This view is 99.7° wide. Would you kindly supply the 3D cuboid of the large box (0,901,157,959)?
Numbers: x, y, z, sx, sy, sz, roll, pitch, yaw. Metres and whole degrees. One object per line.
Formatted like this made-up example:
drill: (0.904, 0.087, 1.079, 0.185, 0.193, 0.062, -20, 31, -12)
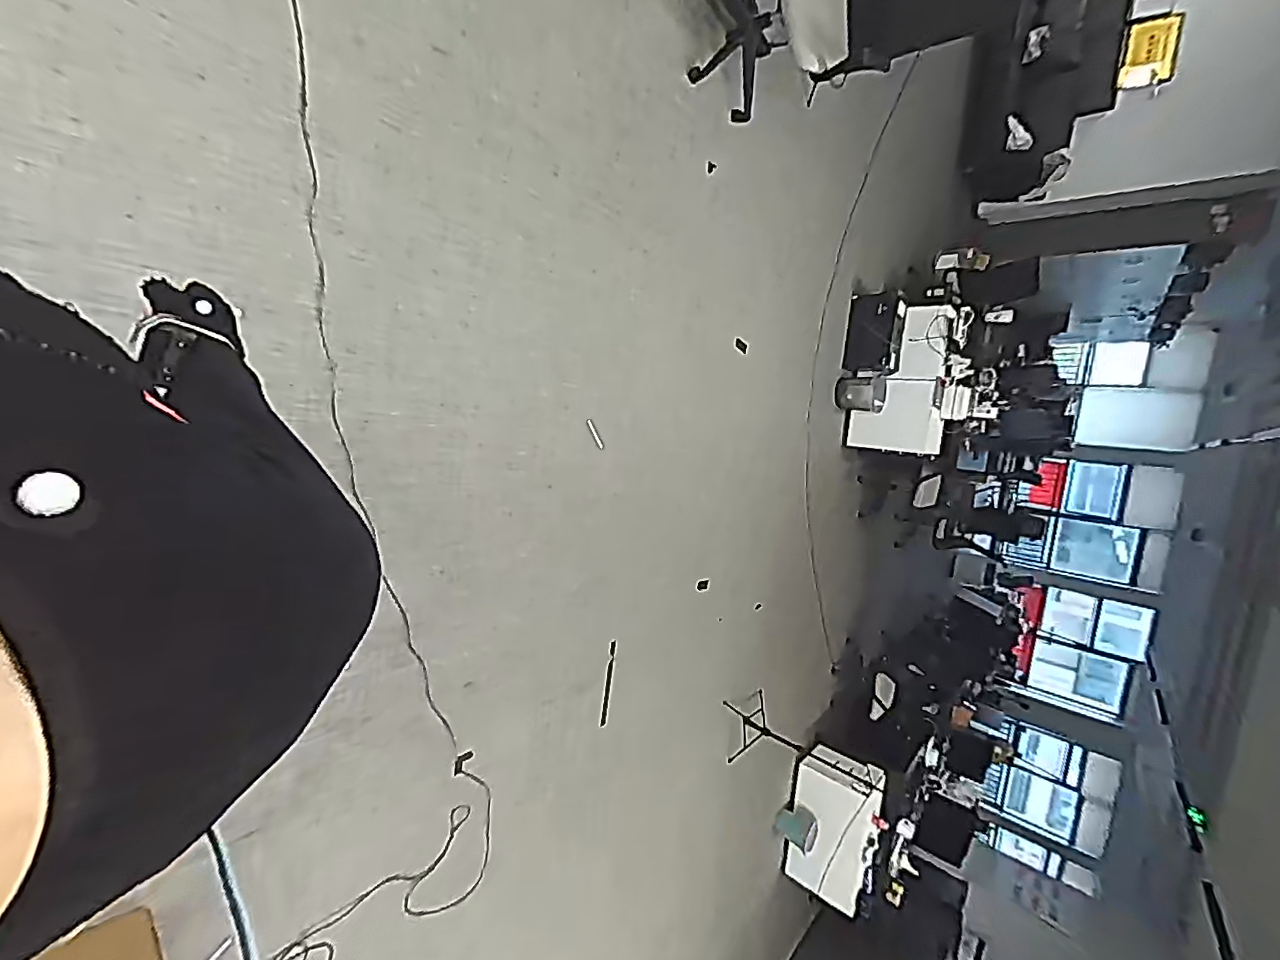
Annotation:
large box: (-1.201, 1.127, 1.015, 0.408, 0.320, 0.320, 7, 93, -51)
